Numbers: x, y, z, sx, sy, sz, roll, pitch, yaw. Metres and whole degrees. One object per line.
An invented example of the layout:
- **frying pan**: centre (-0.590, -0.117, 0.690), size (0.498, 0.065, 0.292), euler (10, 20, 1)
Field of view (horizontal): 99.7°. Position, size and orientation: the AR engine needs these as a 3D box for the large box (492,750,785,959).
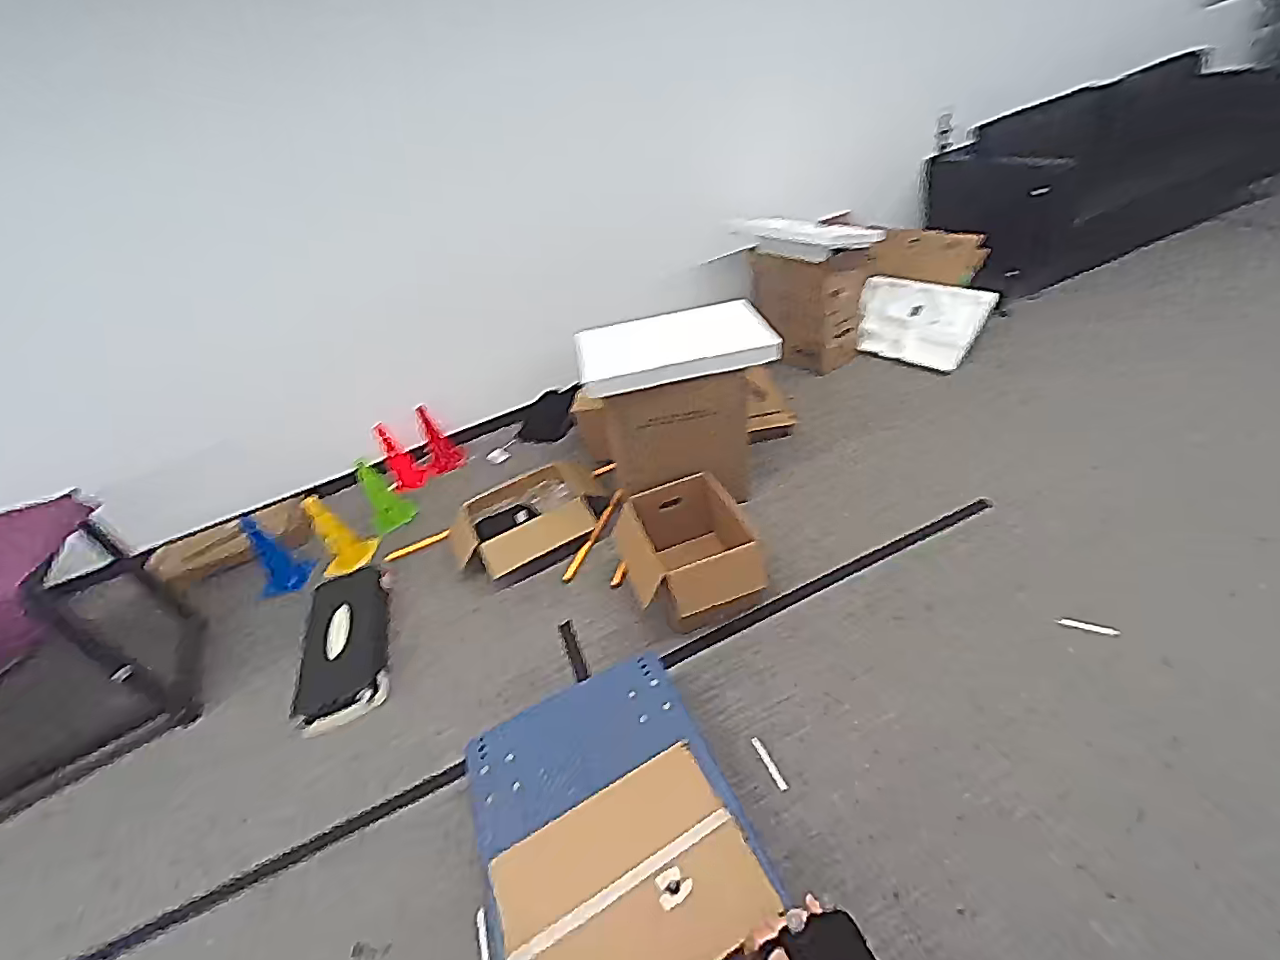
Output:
- **large box**: centre (0.006, 0.794, 0.970), size (0.408, 0.320, 0.320), euler (-25, 38, -17)
